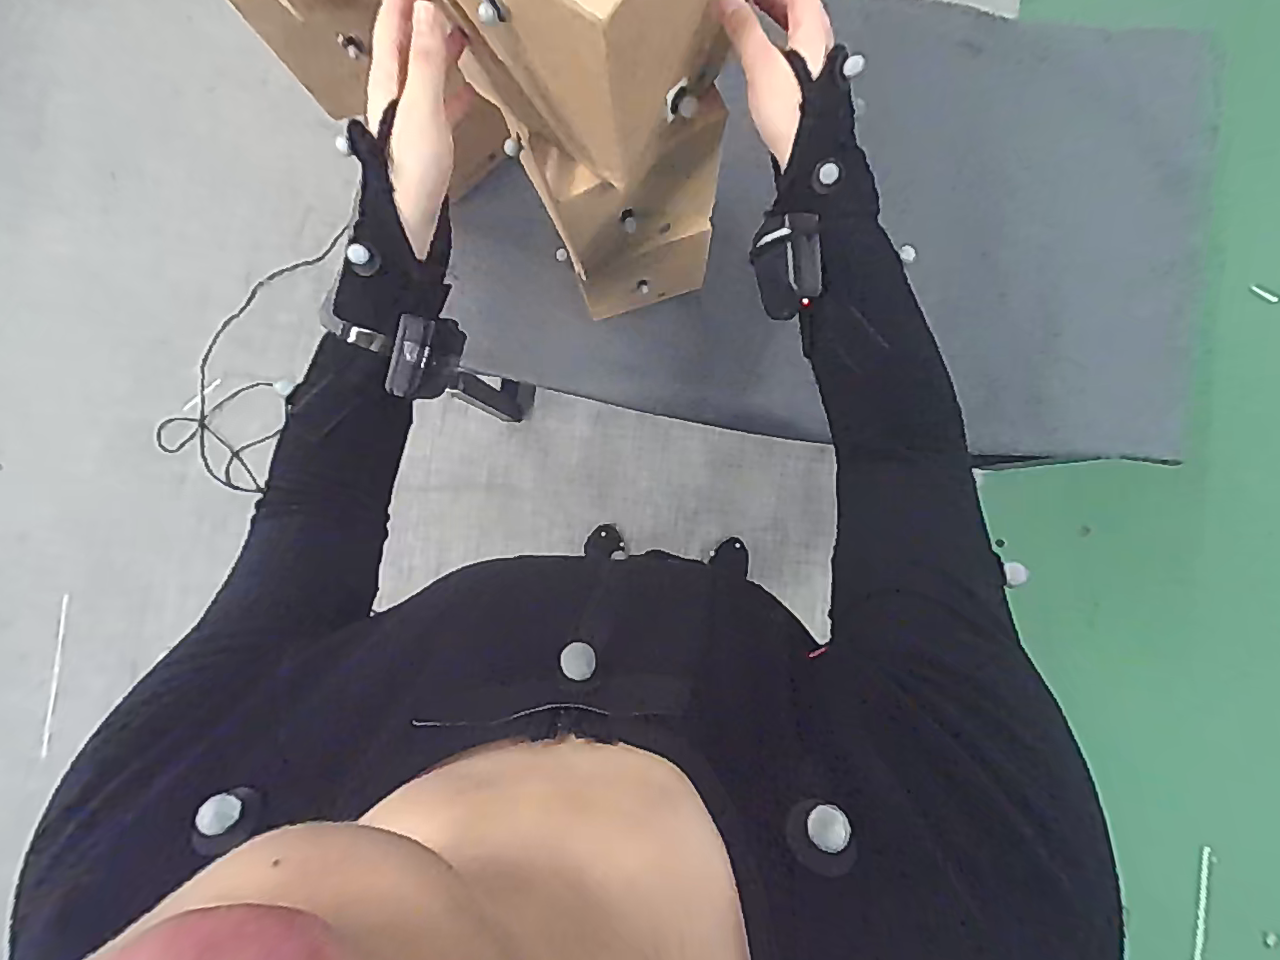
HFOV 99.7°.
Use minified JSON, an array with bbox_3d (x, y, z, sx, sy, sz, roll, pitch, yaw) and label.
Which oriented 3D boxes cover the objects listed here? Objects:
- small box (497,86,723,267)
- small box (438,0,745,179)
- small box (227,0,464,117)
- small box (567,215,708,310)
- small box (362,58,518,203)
[{"bbox_3d":[-0.032,-0.343,0.543,0.168,0.176,0.179,-28,86,2],"label":"small box"},{"bbox_3d":[-0.036,-0.359,0.381,0.179,0.176,0.168,37,90,4],"label":"small box"},{"bbox_3d":[-0.298,-0.524,0.564,0.179,0.176,0.168,-10,88,3],"label":"small box"},{"bbox_3d":[-0.016,-0.340,0.705,0.168,0.176,0.179,-17,86,2],"label":"small box"},{"bbox_3d":[-0.289,-0.522,0.728,0.168,0.176,0.179,-42,86,1],"label":"small box"}]
